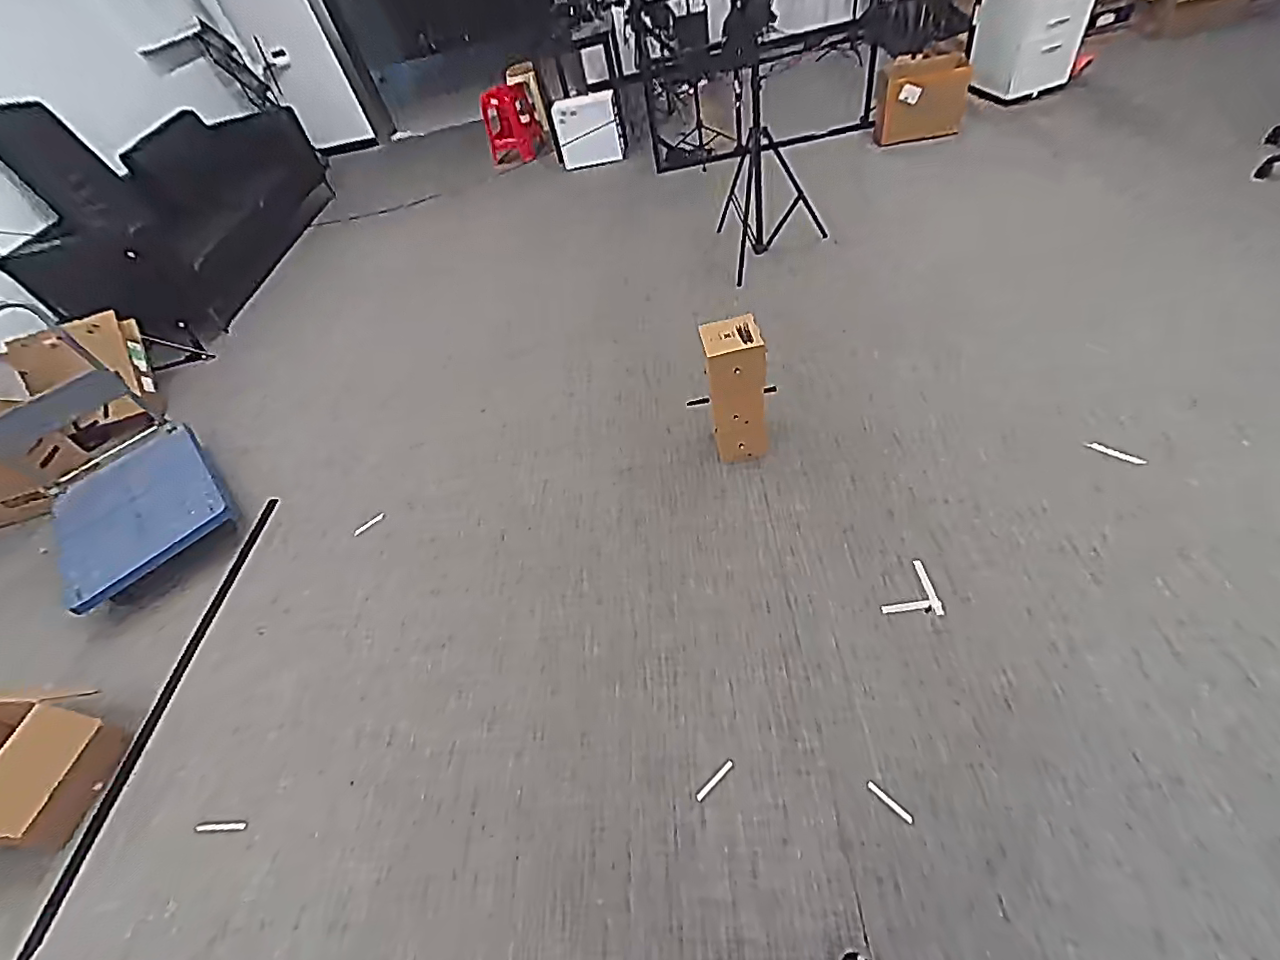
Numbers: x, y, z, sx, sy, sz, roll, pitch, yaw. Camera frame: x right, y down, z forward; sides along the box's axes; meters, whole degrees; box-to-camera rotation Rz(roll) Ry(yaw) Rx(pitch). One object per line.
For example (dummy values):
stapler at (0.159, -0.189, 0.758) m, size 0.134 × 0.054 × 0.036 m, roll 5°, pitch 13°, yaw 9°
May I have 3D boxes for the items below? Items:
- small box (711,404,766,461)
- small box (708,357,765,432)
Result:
small box at (0.359, -0.184, 1.962) m, size 0.168 × 0.176 × 0.179 m, roll -11°, pitch 48°, yaw 5°
small box at (0.327, -0.289, 1.841) m, size 0.168 × 0.176 × 0.179 m, roll -10°, pitch 49°, yaw 6°
